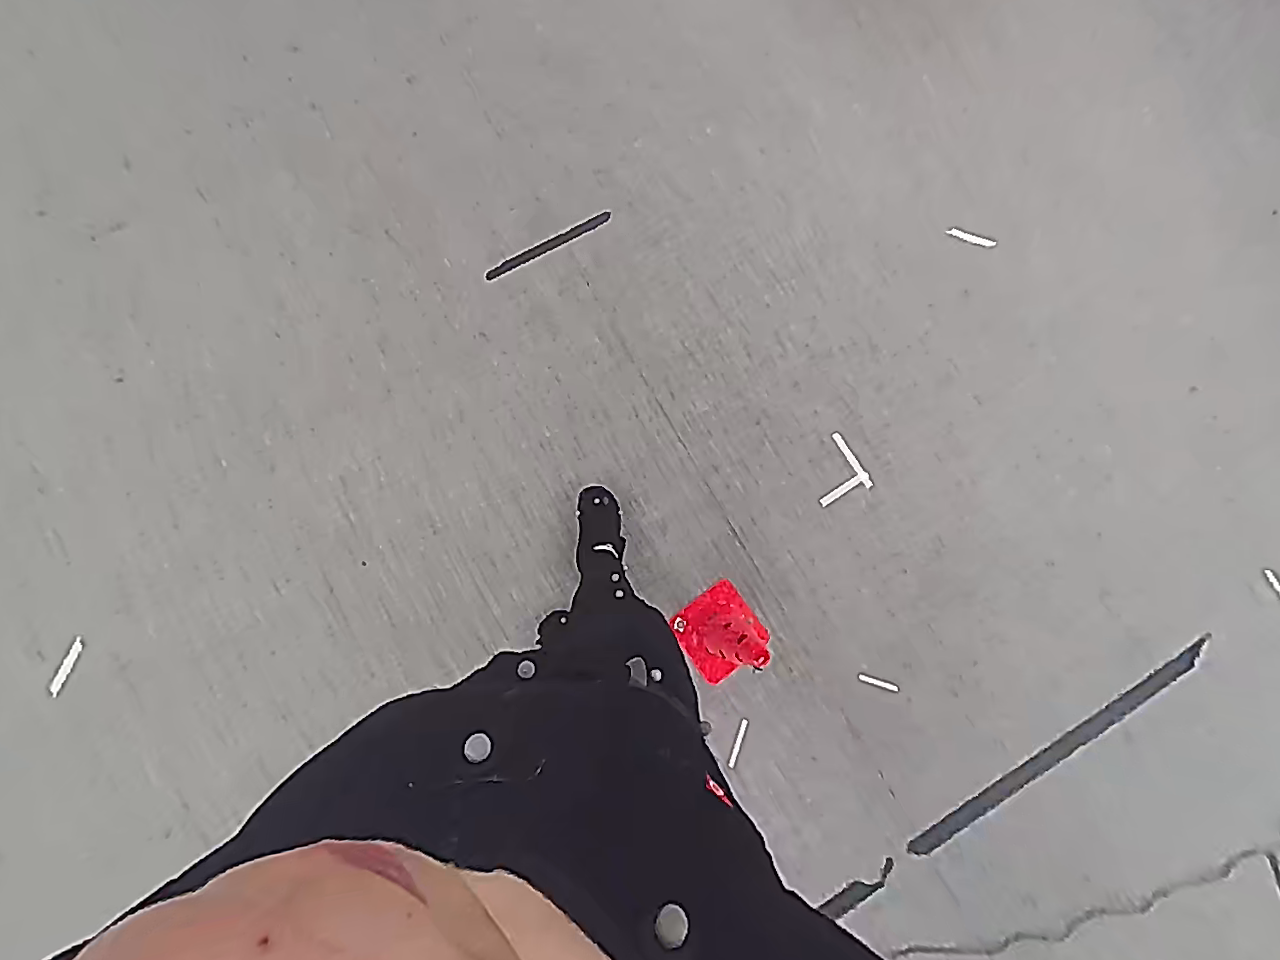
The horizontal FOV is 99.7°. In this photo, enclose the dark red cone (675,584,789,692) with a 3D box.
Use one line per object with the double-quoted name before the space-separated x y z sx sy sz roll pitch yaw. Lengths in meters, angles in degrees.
"dark red cone" 0.227 0.363 1.162 0.202 0.394 0.201 -37 87 -9
